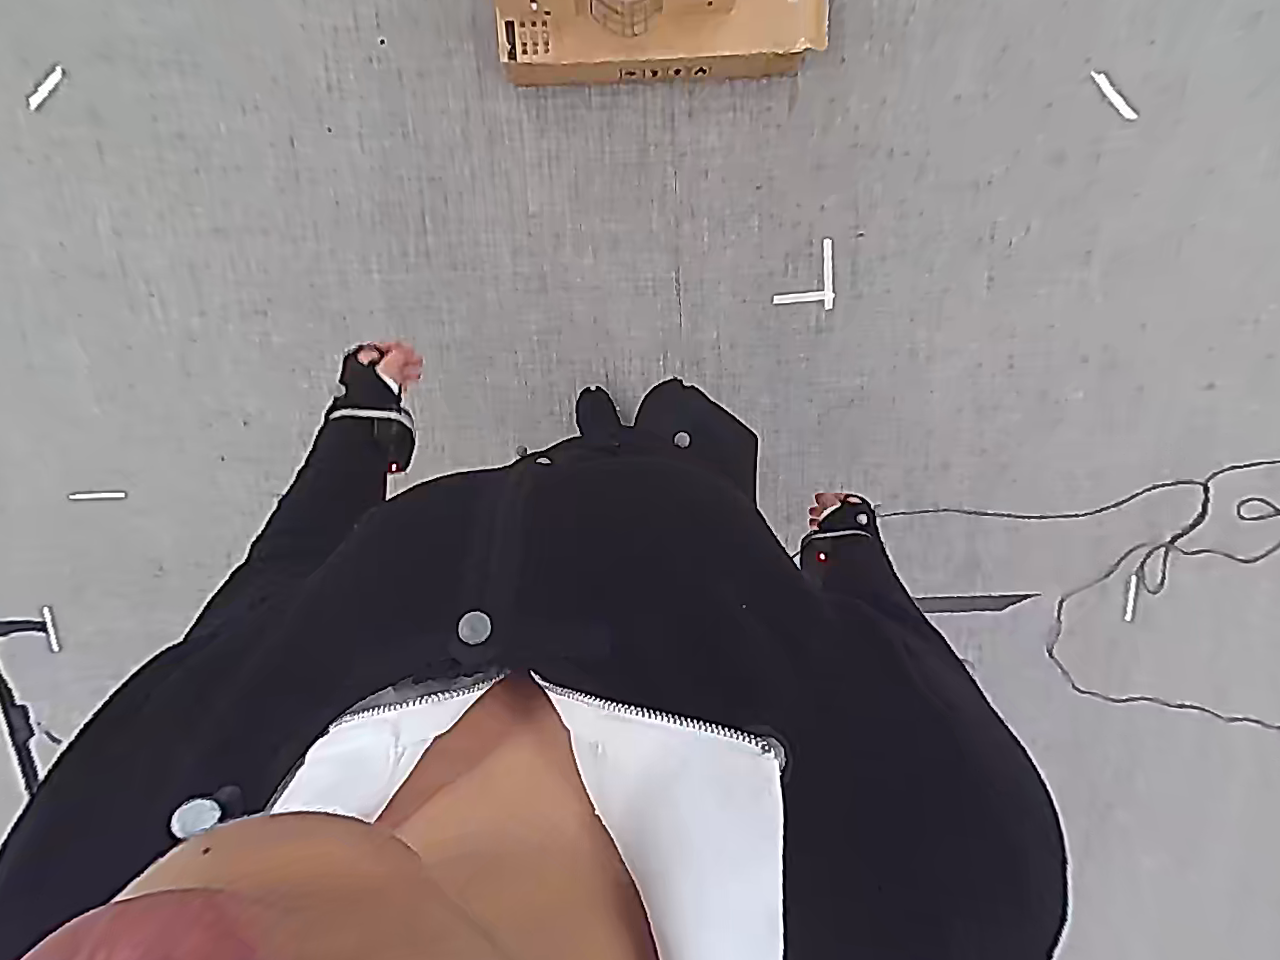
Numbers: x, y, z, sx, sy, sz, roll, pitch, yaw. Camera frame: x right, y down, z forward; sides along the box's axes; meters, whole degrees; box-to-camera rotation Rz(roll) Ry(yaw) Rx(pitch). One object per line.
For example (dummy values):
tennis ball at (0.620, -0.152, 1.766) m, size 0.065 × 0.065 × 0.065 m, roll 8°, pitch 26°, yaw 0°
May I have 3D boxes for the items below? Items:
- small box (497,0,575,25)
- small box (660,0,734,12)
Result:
small box at (-0.226, -1.084, 1.105) m, size 0.168 × 0.176 × 0.179 m, roll -3°, pitch 100°, yaw 0°
small box at (0.123, -1.103, 1.108) m, size 0.168 × 0.176 × 0.179 m, roll -5°, pitch 101°, yaw -1°
